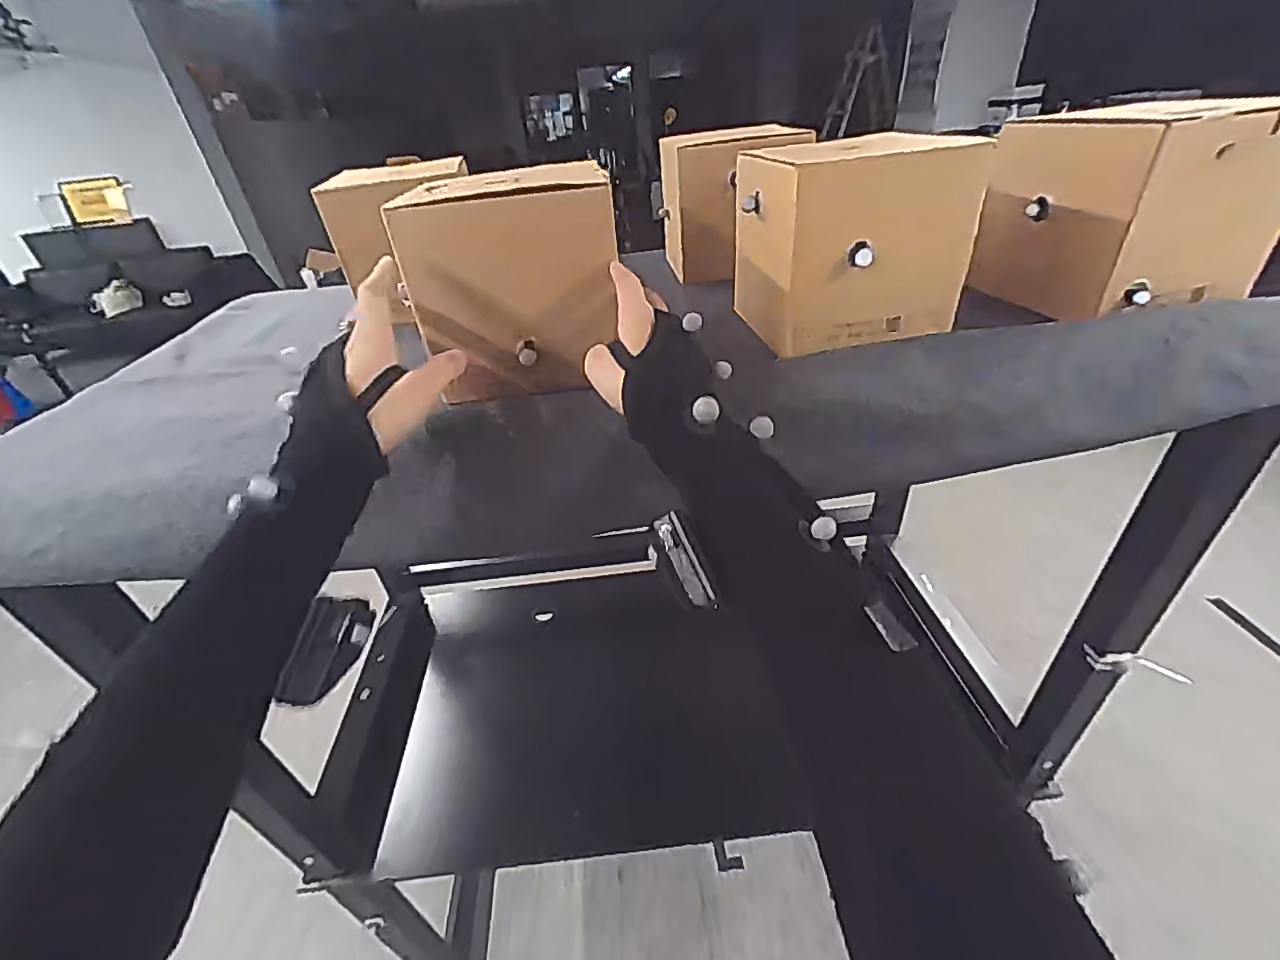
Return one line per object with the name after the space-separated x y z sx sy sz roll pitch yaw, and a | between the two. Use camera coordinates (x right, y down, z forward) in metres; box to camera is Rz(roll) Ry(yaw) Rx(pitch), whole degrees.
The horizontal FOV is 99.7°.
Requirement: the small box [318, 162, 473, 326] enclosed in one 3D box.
-0.298 -0.325 0.739 0.168 0.176 0.179 -12 35 -6 | small box

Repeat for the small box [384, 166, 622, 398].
-0.110 -0.193 0.521 0.179 0.176 0.168 -7 34 -3 | small box

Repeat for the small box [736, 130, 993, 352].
0.197 -0.233 0.533 0.168 0.176 0.179 -8 34 -3 | small box

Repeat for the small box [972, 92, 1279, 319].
0.470 -0.265 0.531 0.168 0.176 0.179 -10 34 -5 | small box

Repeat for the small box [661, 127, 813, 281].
0.130 -0.390 0.766 0.179 0.176 0.168 -7 36 -1 | small box
